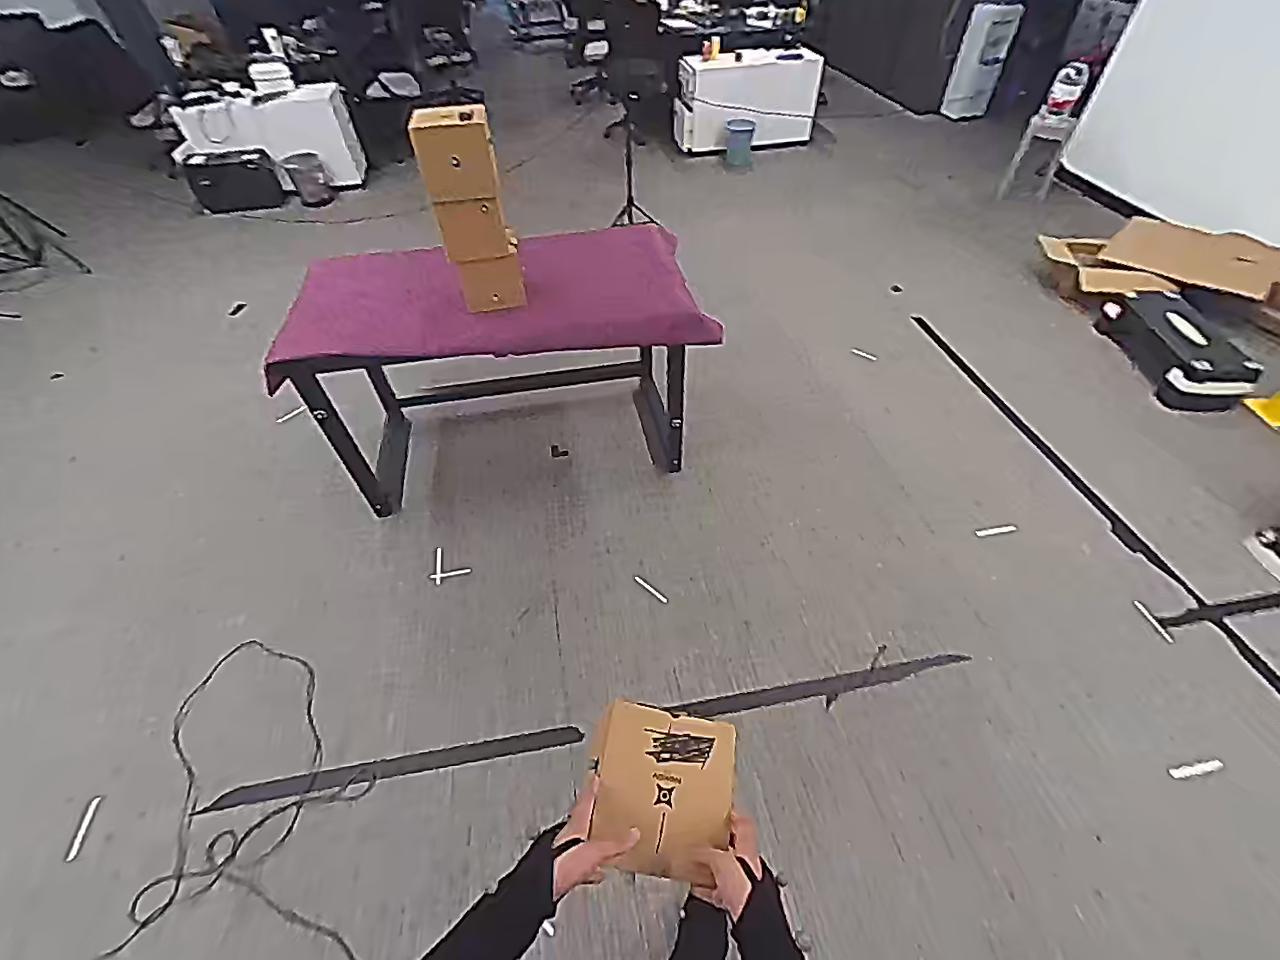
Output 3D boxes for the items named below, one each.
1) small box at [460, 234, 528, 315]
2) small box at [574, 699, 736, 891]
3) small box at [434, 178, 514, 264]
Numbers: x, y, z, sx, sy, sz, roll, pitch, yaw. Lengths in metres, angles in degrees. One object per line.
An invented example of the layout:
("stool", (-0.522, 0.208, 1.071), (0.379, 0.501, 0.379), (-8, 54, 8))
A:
("small box", (-0.438, -0.620, 1.638), (0.179, 0.176, 0.168), (-10, 47, -8))
("small box", (0.015, 0.410, 0.709), (0.168, 0.176, 0.179), (14, 56, -5))
("small box", (-0.459, -0.719, 1.508), (0.179, 0.176, 0.168), (-10, 48, -8))
